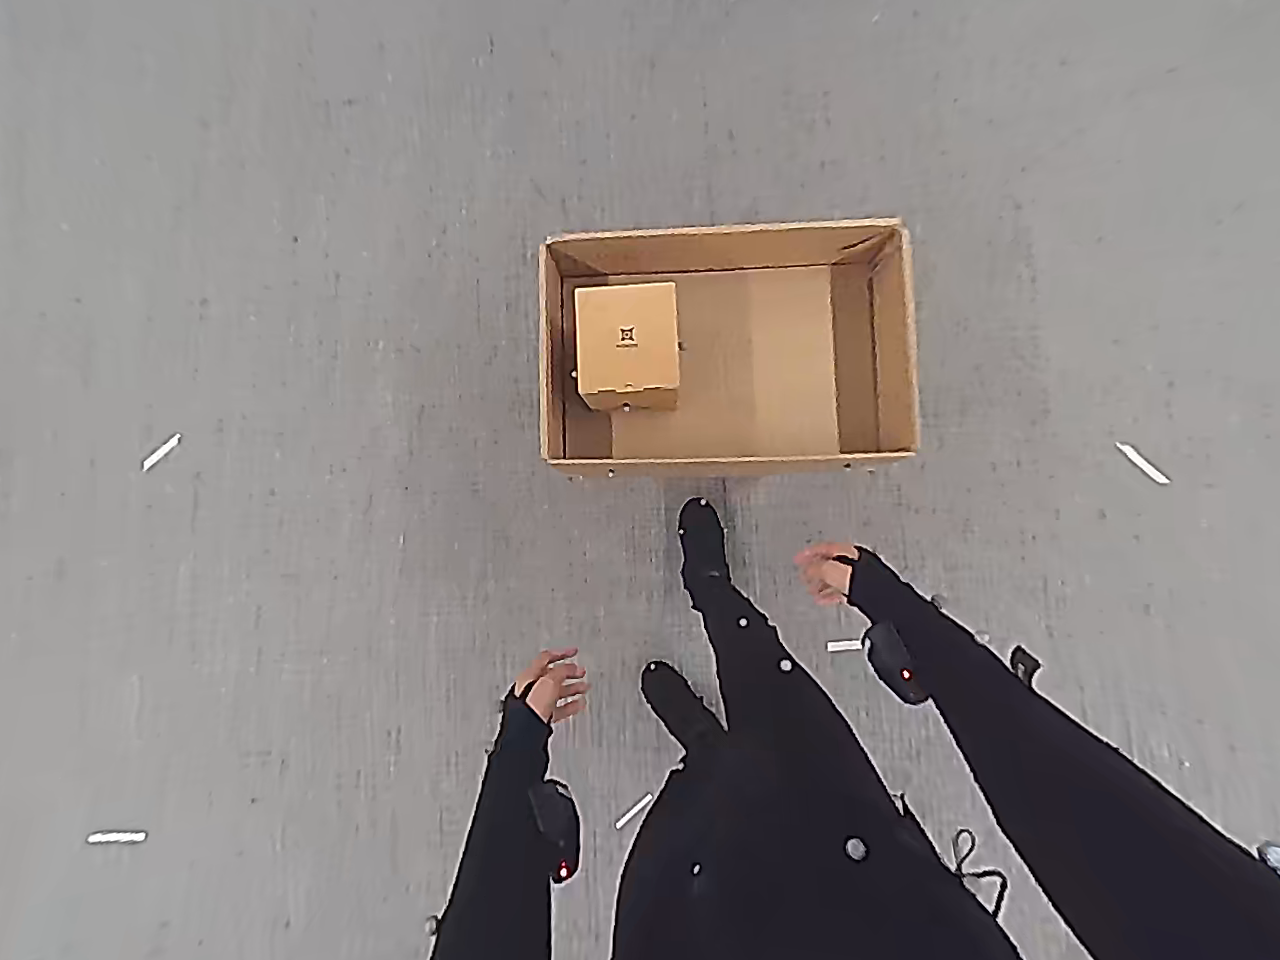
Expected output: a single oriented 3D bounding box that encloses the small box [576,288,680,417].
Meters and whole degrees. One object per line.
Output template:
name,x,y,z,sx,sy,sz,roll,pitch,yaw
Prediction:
small box,-0.017,-0.215,0.947,0.168,0.176,0.179,-3,87,3
